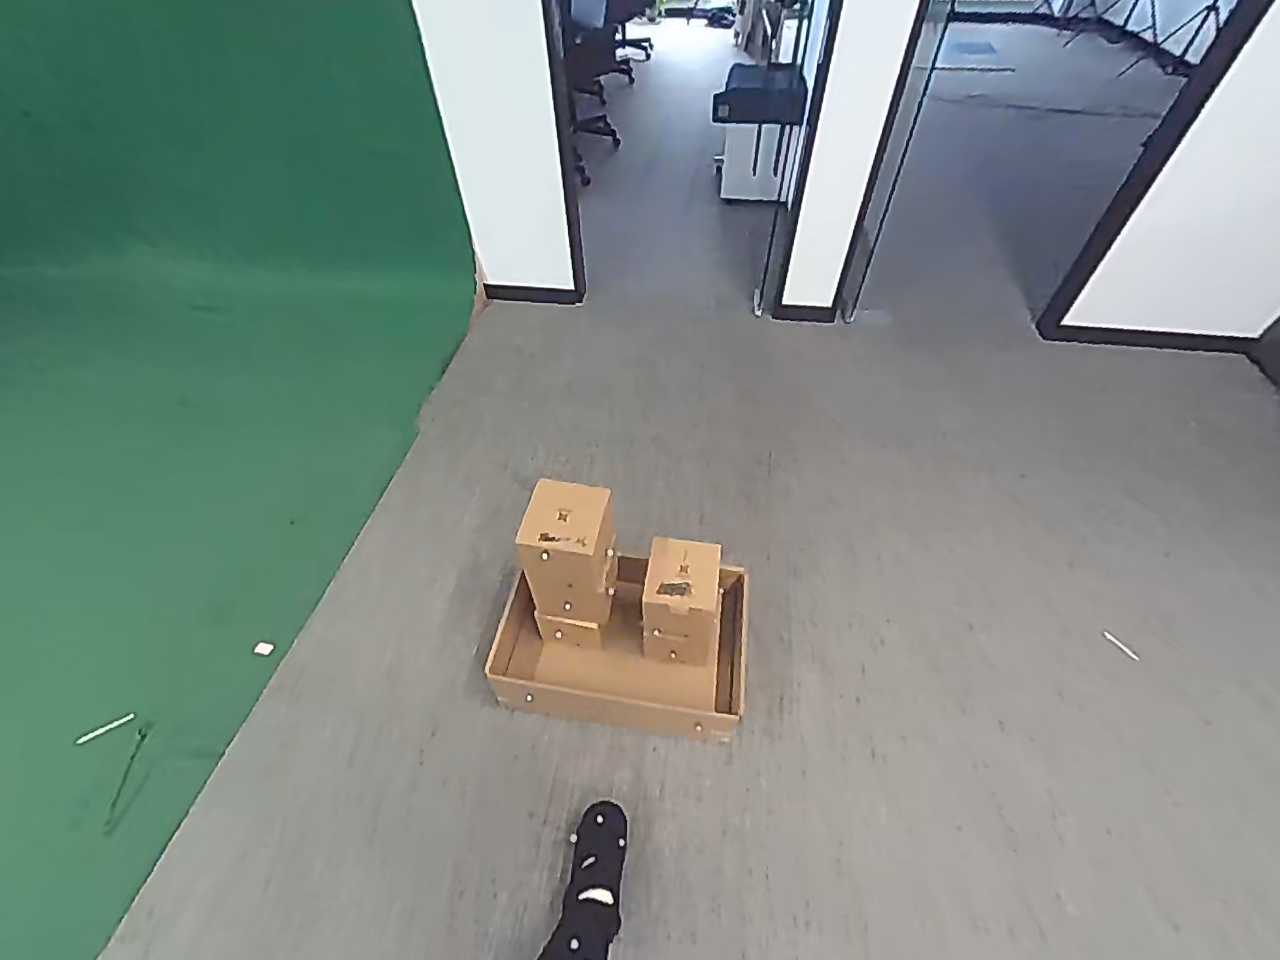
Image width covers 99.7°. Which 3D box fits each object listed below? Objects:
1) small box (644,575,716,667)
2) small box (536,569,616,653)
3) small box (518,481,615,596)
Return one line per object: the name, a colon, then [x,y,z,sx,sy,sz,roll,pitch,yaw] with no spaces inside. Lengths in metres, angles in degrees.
small box: [0.107,0.374,1.421,0.168,0.176,0.179,6,51,7]
small box: [-0.163,0.343,1.453,0.168,0.176,0.179,10,51,8]
small box: [-0.155,0.132,1.202,0.168,0.176,0.179,9,50,7]
